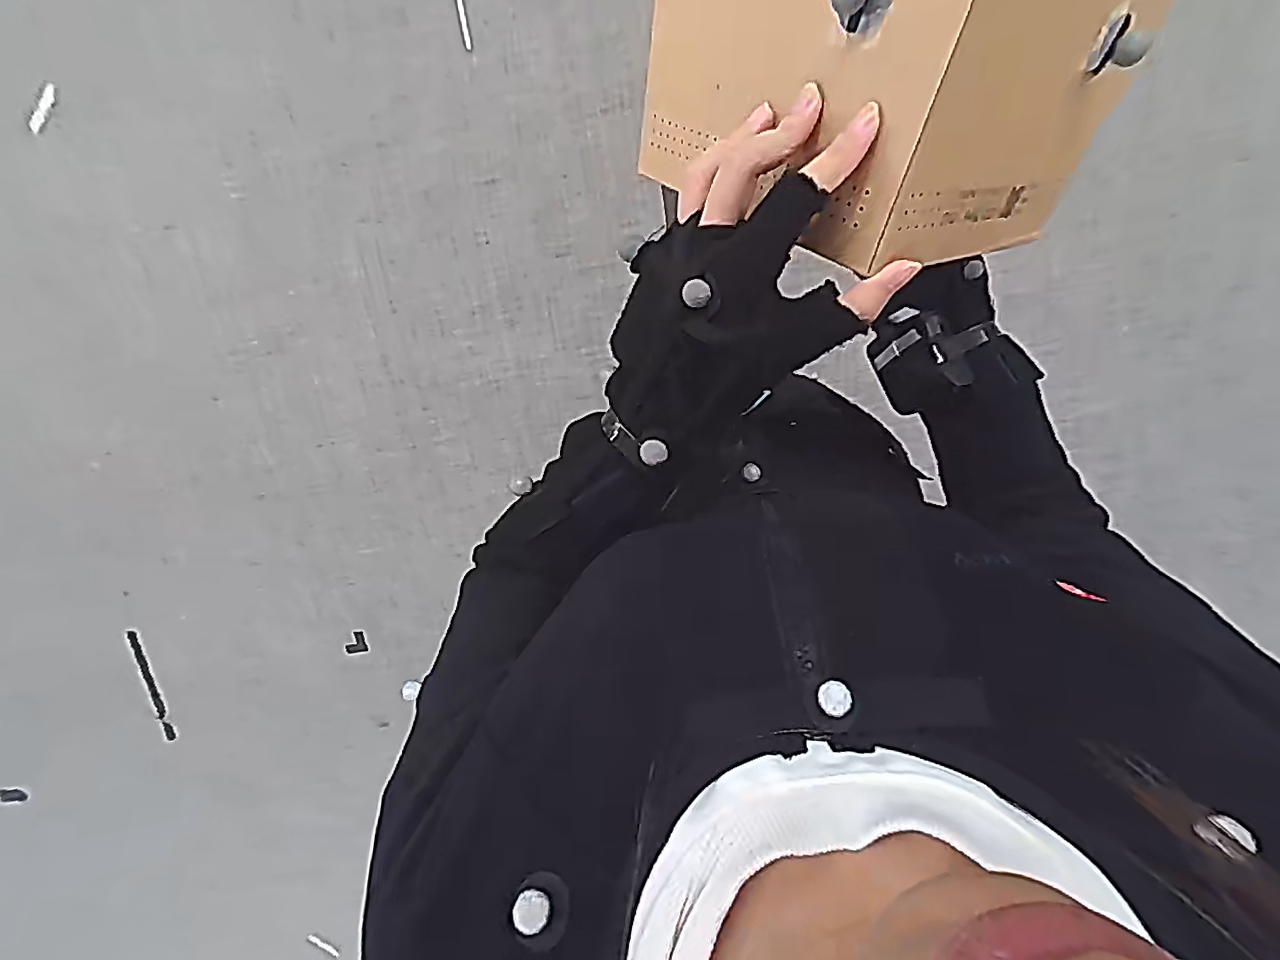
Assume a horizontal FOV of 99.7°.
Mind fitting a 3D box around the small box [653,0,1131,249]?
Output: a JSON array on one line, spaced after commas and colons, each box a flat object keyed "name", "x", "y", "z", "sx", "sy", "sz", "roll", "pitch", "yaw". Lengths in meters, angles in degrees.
[{"name": "small box", "x": 0.126, "y": -0.232, "z": 0.287, "sx": 0.168, "sy": 0.179, "sz": 0.176, "roll": -20, "pitch": 138, "yaw": -31}]
